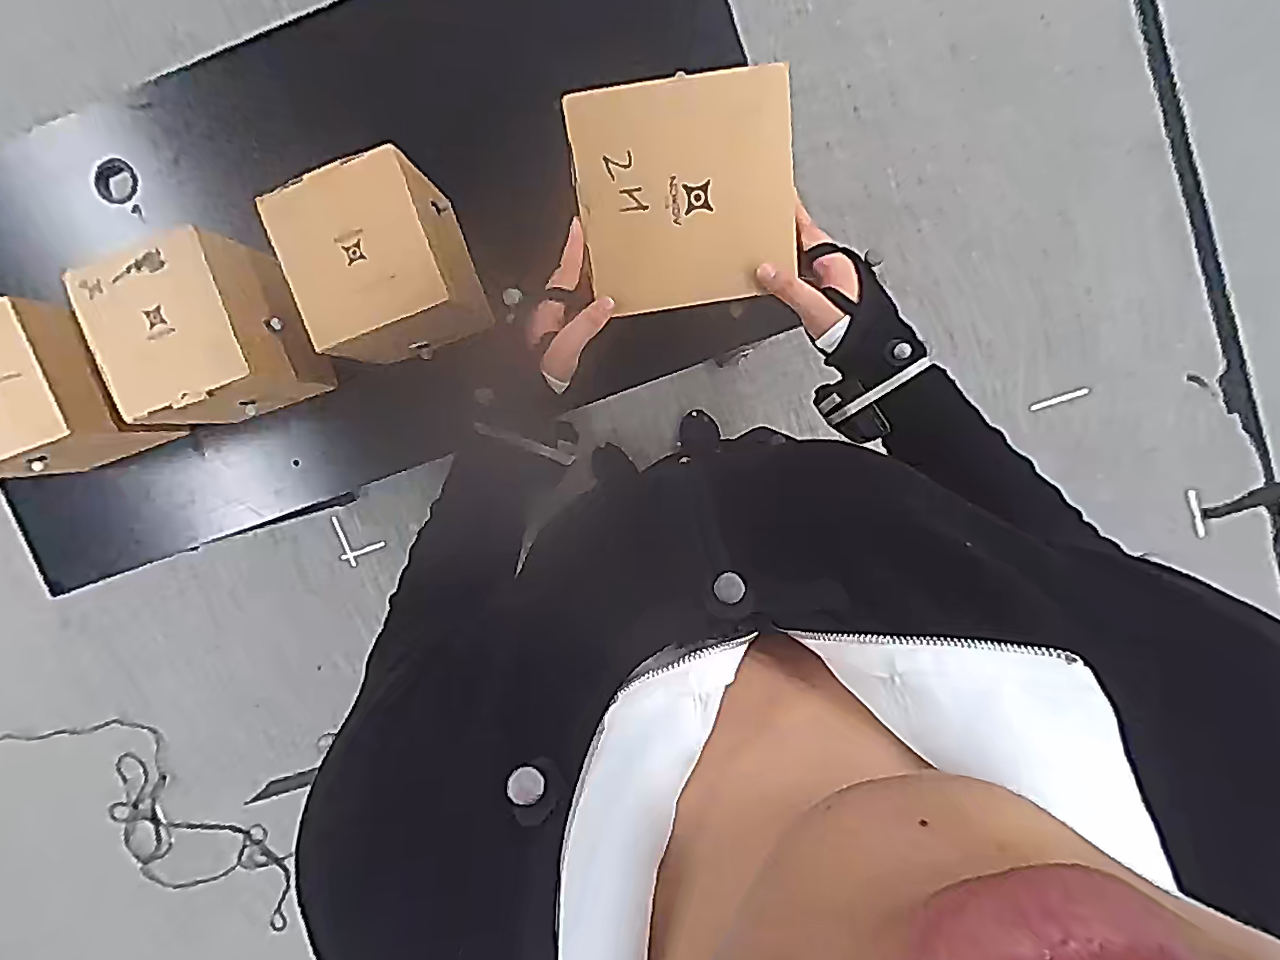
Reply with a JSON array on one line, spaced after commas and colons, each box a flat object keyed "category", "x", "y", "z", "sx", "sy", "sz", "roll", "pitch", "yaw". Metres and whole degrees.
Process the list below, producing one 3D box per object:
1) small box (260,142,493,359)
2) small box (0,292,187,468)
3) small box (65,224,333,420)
[{"category": "small box", "x": -0.307, "y": -0.265, "z": 0.668, "sx": 0.168, "sy": 0.176, "sz": 0.179, "roll": -20, "pitch": 96, "yaw": 5}, {"category": "small box", "x": -0.753, "y": -0.116, "z": 0.694, "sx": 0.179, "sy": 0.176, "sz": 0.168, "roll": -19, "pitch": 96, "yaw": 3}, {"category": "small box", "x": -0.531, "y": -0.184, "z": 0.681, "sx": 0.168, "sy": 0.176, "sz": 0.179, "roll": -19, "pitch": 96, "yaw": 2}]
